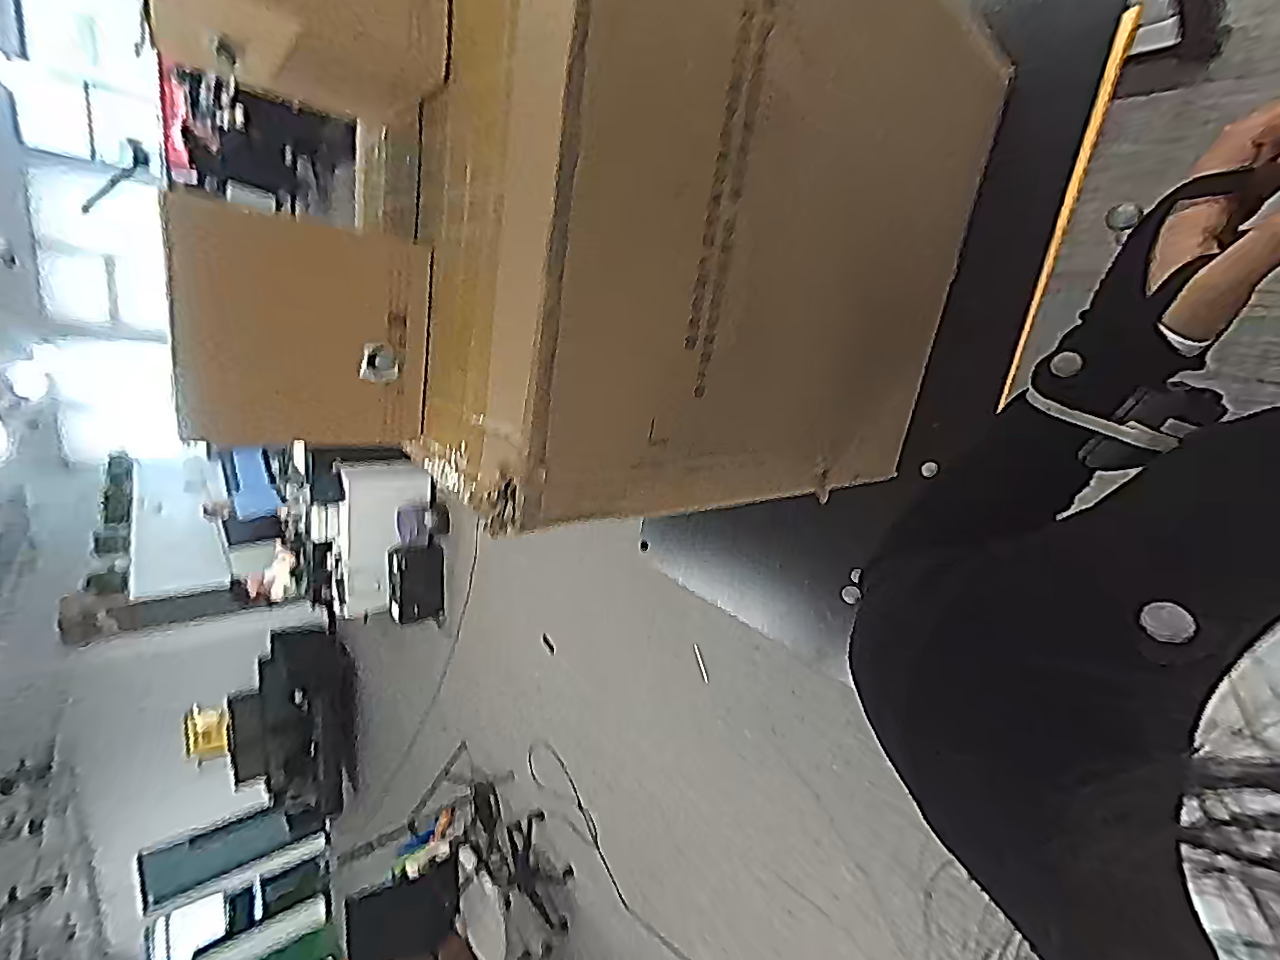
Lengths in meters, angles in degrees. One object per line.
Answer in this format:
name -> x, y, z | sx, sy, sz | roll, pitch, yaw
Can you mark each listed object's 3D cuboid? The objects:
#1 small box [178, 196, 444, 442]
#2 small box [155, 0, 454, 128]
small box -> -0.288, -0.130, 0.474 | 0.179, 0.176, 0.168 | 22, 110, 46
small box -> -0.246, -0.387, 0.395 | 0.179, 0.176, 0.168 | 22, 112, 46
